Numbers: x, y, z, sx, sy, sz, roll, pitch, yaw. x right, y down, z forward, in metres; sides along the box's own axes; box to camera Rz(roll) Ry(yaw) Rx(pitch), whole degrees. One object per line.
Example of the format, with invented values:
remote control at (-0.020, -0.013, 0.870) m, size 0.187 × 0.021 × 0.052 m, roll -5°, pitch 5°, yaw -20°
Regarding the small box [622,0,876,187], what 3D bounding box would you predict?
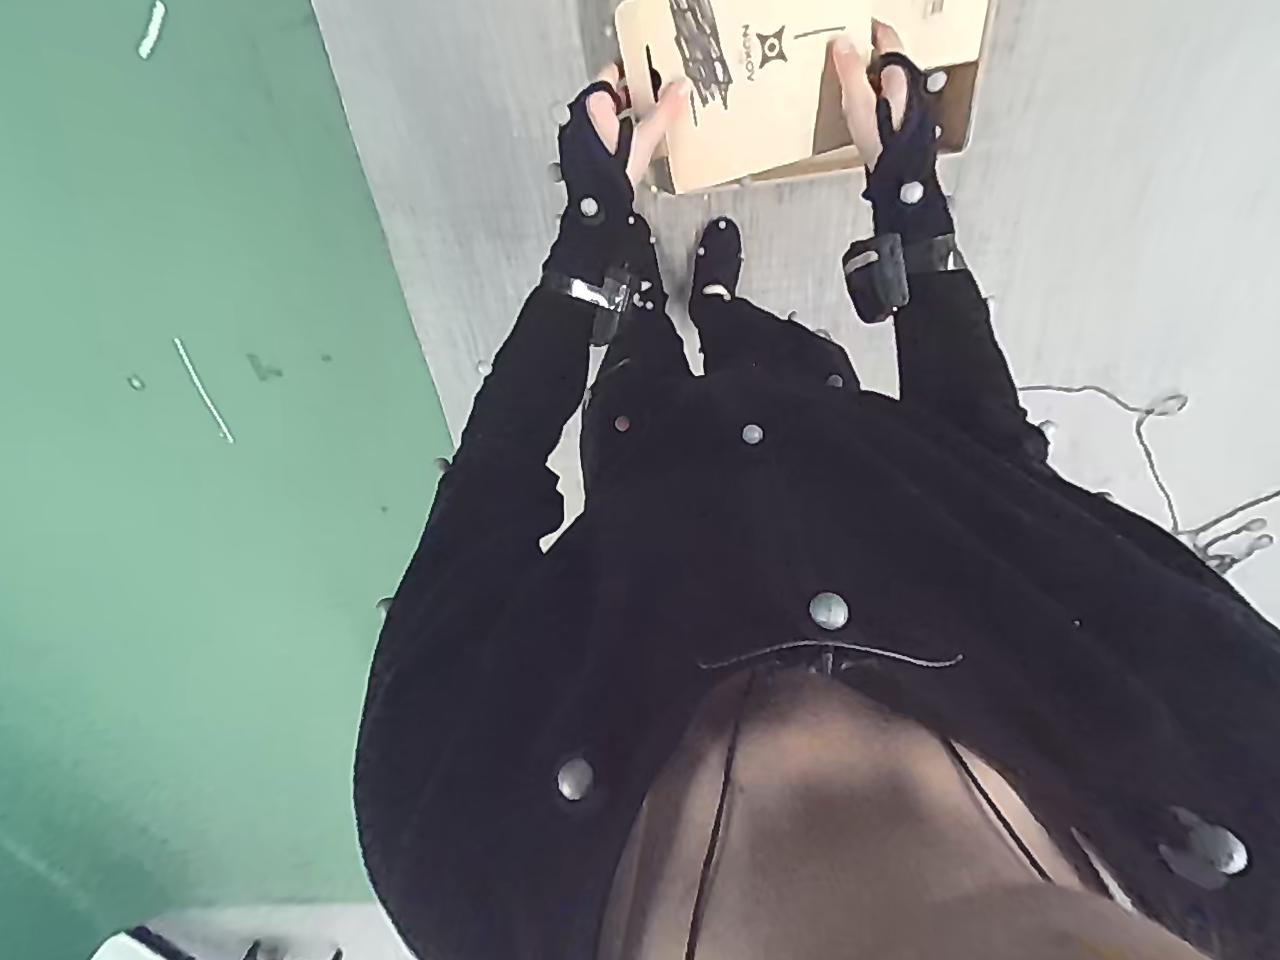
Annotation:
small box at (0.085, -0.373, 0.477) m, size 0.179 × 0.176 × 0.168 m, roll -15°, pitch 123°, yaw 1°
